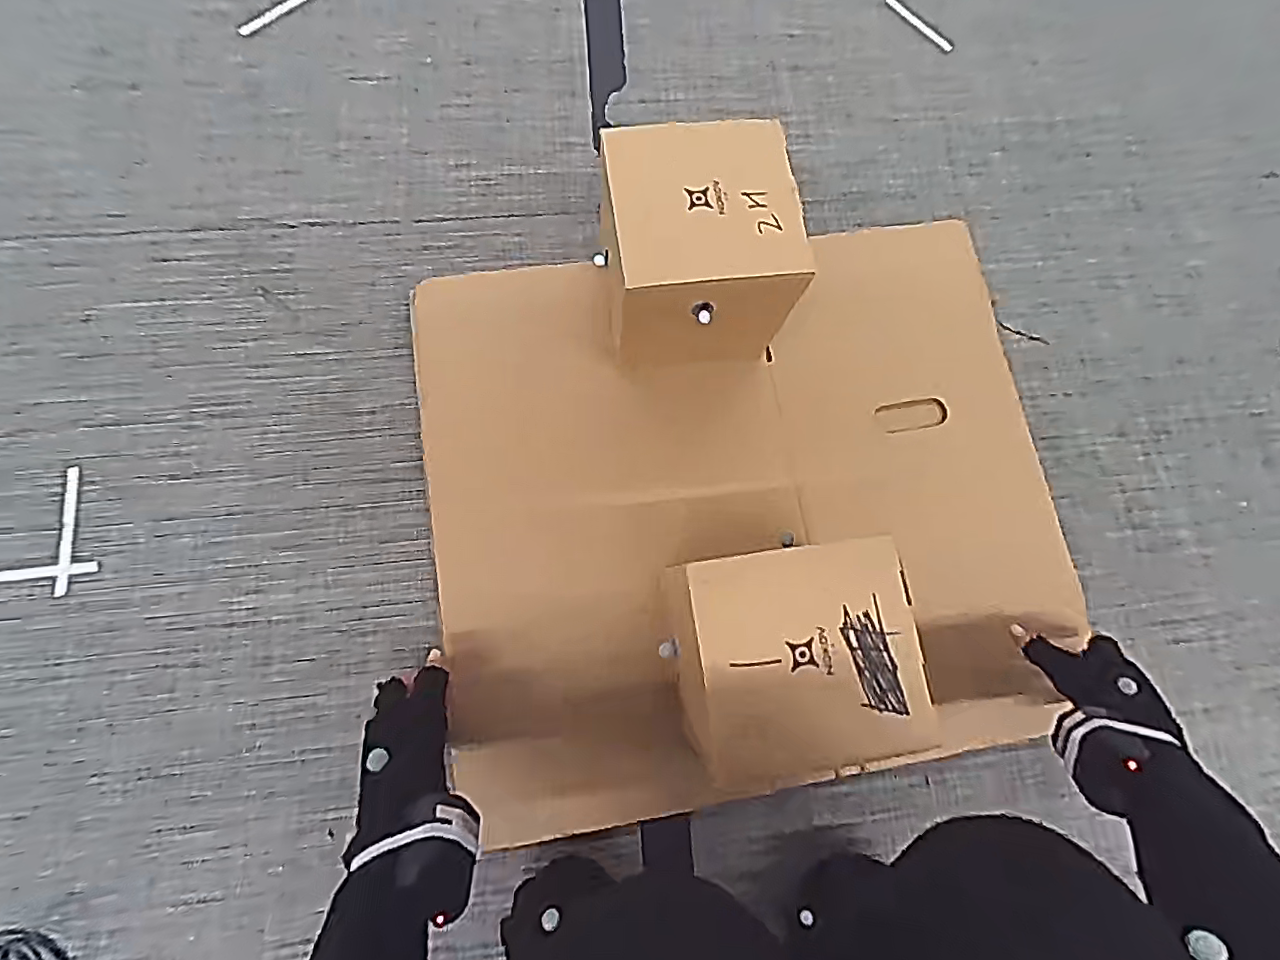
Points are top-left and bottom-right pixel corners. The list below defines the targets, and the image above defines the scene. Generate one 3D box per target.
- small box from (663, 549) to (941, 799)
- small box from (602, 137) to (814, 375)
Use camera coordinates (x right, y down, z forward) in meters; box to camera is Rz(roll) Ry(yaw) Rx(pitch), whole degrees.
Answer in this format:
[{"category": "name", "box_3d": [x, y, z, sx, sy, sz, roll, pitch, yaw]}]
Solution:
[{"category": "small box", "box_3d": [0.126, 0.158, 0.493, 0.179, 0.176, 0.168, -8, 79, -6]}, {"category": "small box", "box_3d": [0.055, -0.220, 0.567, 0.179, 0.176, 0.168, -6, 78, -6]}]
